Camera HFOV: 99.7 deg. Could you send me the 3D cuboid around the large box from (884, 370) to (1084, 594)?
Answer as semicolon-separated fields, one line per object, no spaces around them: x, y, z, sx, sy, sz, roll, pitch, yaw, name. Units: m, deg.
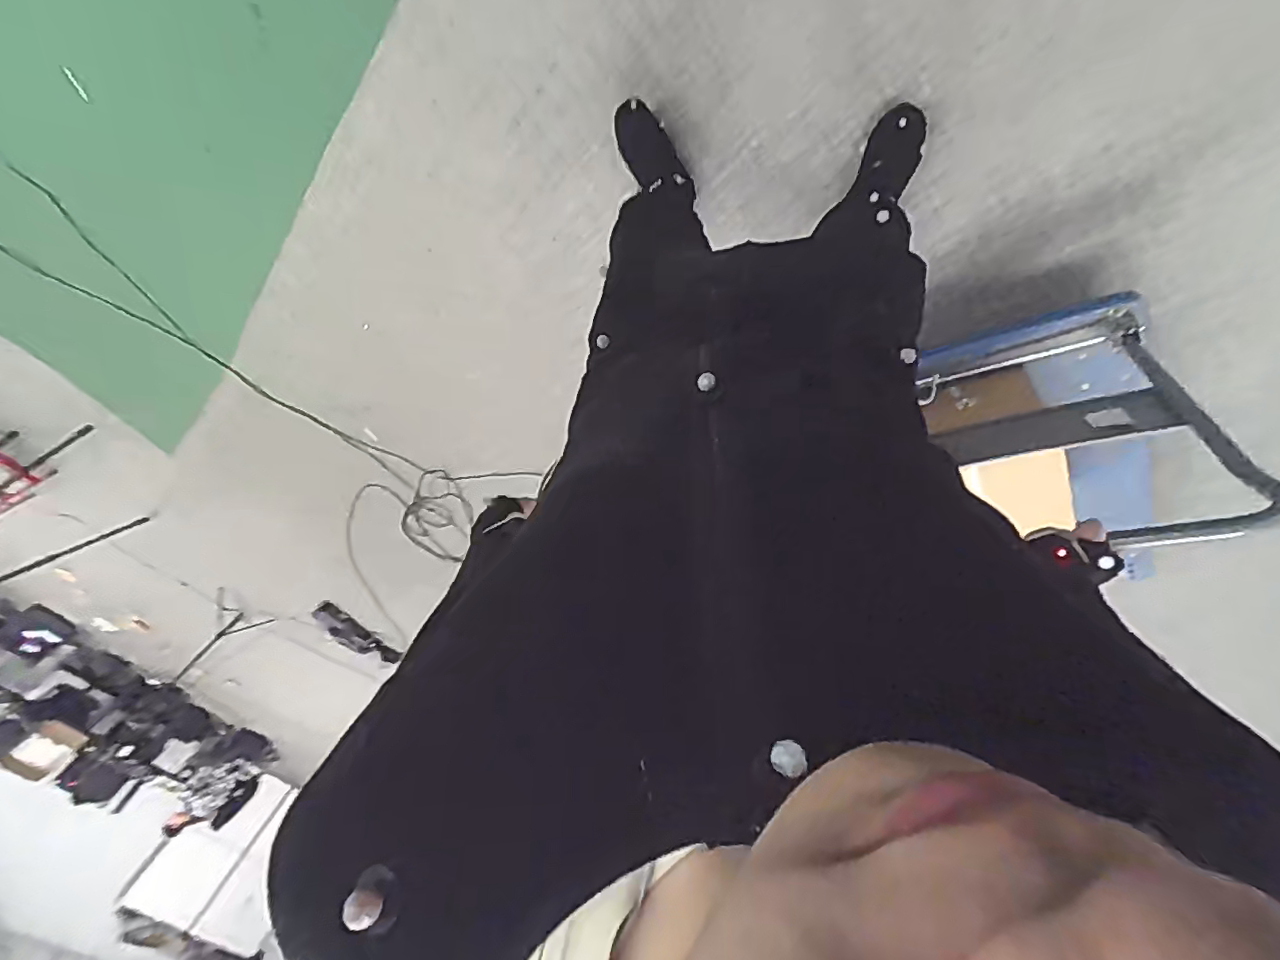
0.815;0.013;1.311;0.320;0.320;0.408;-15;123;31;large box
